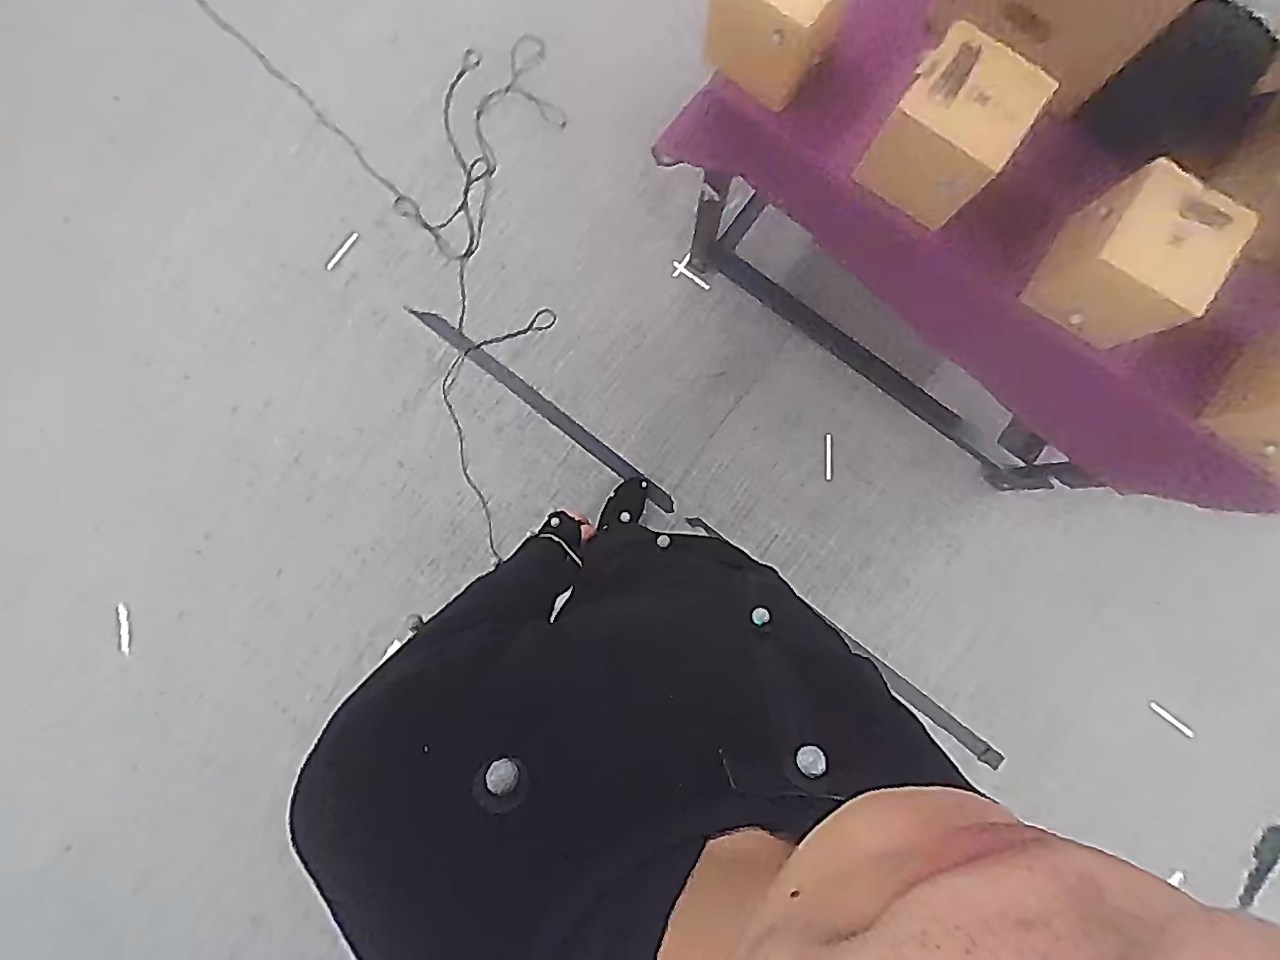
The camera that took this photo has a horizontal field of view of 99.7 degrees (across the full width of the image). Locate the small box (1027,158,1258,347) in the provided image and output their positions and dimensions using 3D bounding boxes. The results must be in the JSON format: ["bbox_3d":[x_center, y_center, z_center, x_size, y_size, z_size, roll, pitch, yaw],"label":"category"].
[{"bbox_3d":[0.759,-0.339,0.840,0.168,0.176,0.179,33,89,2],"label":"small box"}]

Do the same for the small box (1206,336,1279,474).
[{"bbox_3d":[1.050,-0.126,0.826,0.168,0.176,0.179,38,88,3],"label":"small box"}]

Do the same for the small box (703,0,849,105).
[{"bbox_3d":[0.220,-0.758,0.865,0.179,0.176,0.168,36,88,1],"label":"small box"}]
